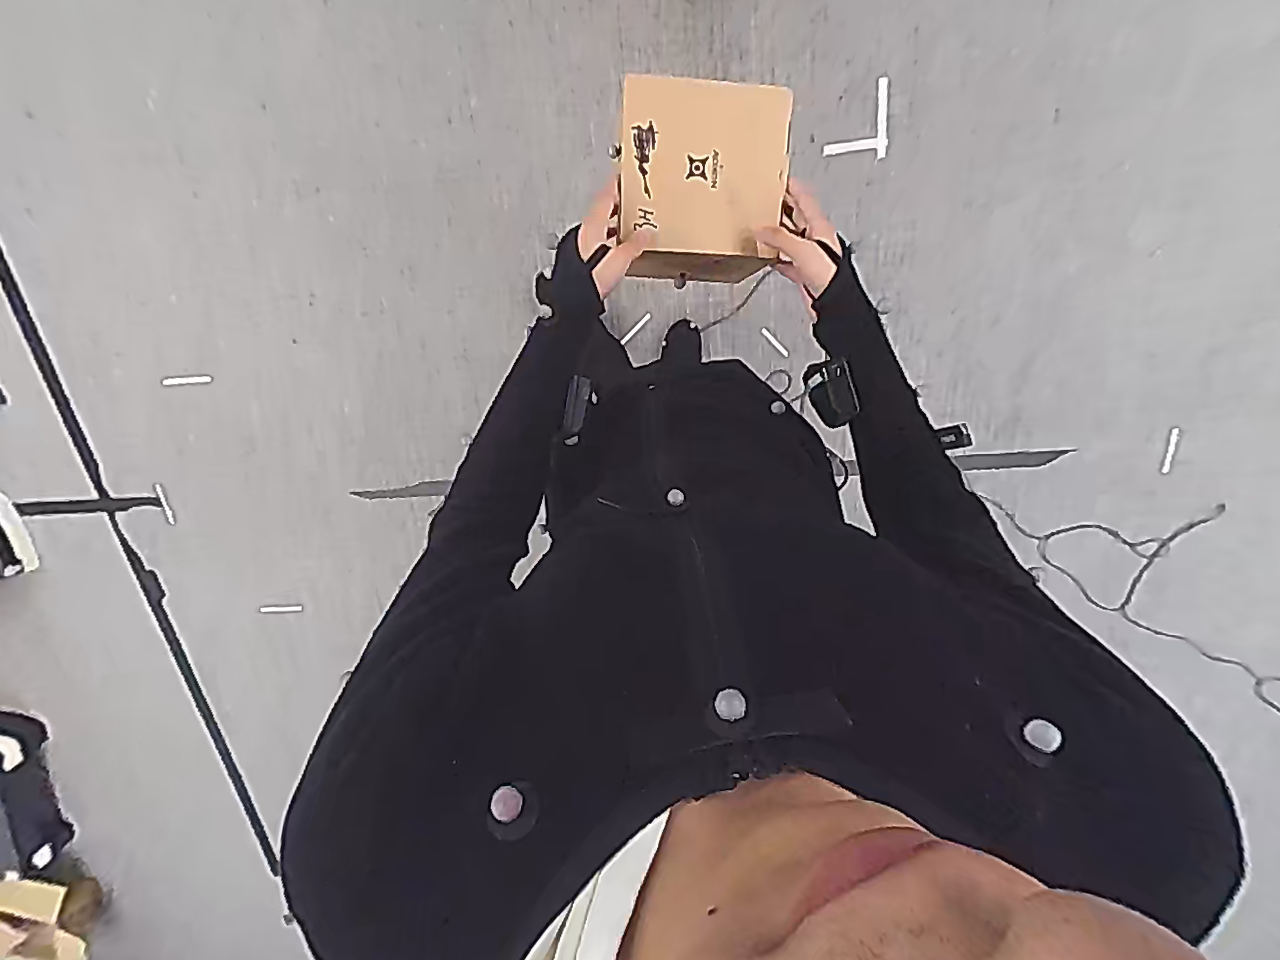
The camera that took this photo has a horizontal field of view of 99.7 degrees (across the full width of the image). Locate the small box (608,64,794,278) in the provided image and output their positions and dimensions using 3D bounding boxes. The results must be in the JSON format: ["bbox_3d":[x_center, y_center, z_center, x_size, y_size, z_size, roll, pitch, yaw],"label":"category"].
[{"bbox_3d":[0.058,-0.340,0.633,0.179,0.176,0.168,2,101,-7],"label":"small box"}]
